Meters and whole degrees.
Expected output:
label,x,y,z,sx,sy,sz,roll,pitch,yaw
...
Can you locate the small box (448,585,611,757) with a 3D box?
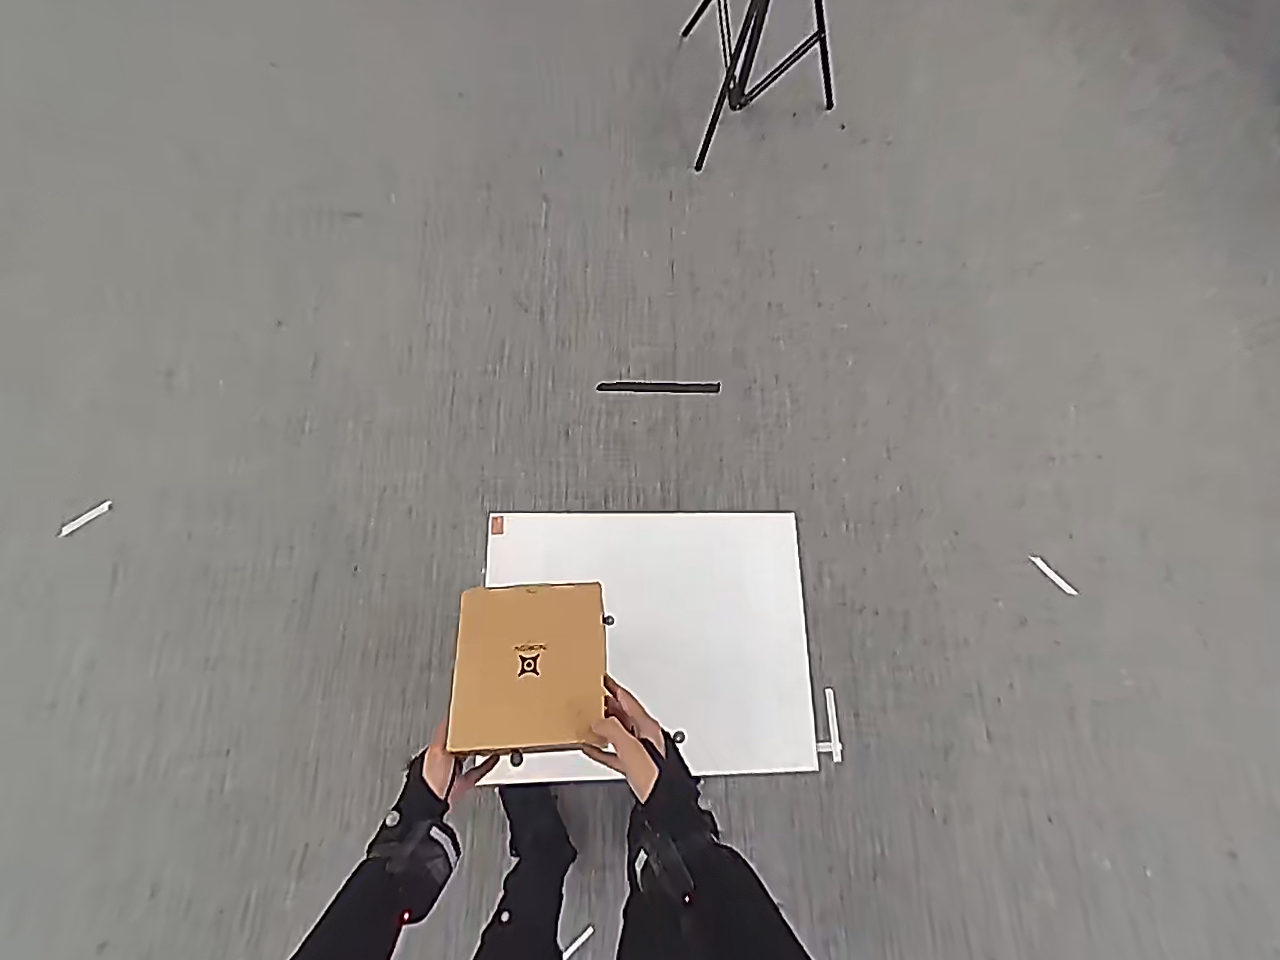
label,x,y,z,sx,sy,sz,roll,pitch,yaw
small box,-0.123,0.242,0.669,0.168,0.176,0.179,-3,61,-3
